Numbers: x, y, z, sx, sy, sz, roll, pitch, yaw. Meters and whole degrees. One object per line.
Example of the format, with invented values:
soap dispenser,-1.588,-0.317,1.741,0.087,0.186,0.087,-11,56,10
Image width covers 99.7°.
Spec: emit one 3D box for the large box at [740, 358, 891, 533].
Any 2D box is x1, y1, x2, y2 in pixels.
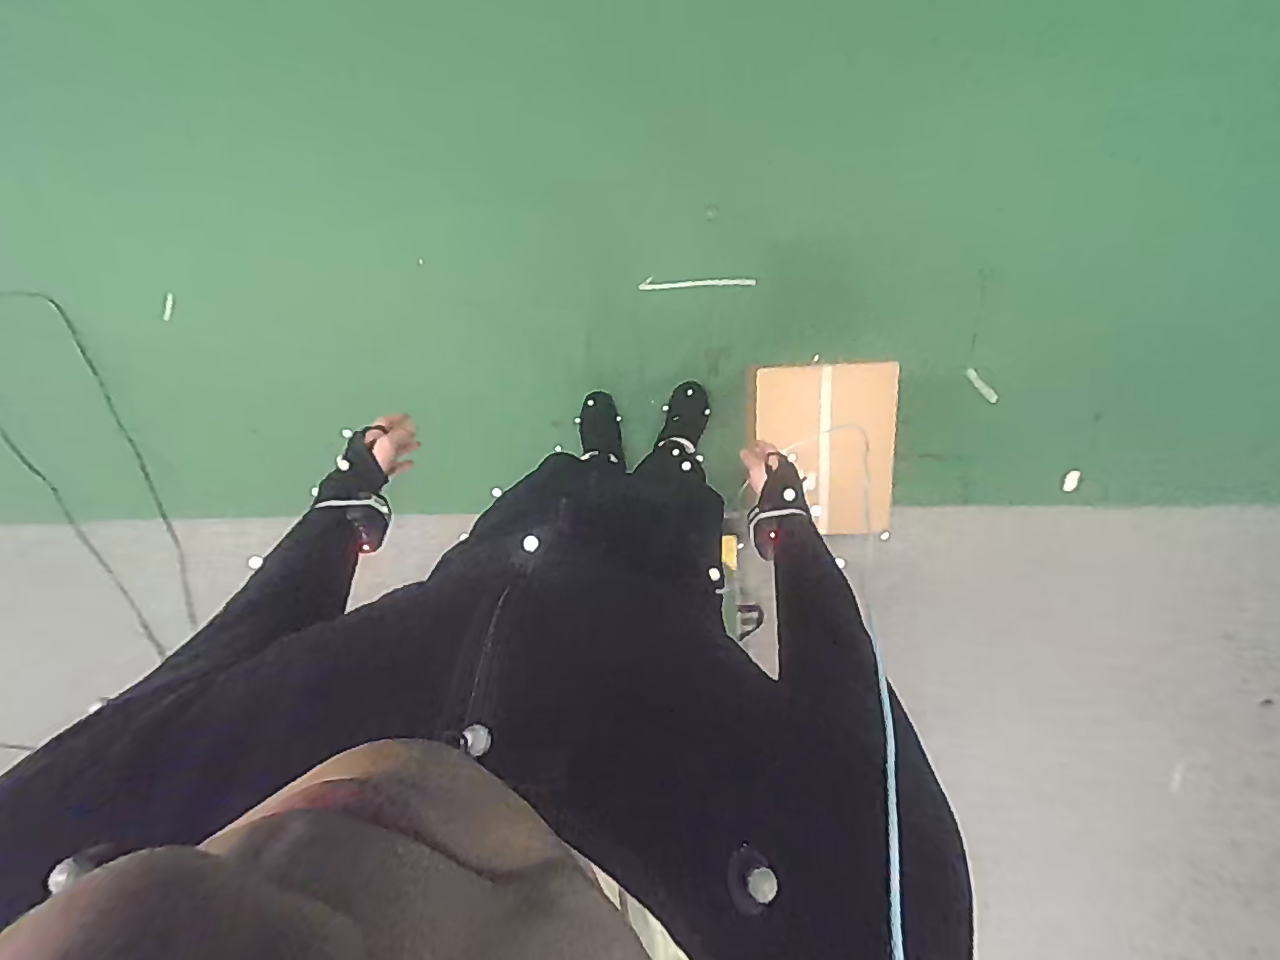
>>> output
large box,0.436,-0.103,1.417,0.320,0.320,0.408,-1,104,6
